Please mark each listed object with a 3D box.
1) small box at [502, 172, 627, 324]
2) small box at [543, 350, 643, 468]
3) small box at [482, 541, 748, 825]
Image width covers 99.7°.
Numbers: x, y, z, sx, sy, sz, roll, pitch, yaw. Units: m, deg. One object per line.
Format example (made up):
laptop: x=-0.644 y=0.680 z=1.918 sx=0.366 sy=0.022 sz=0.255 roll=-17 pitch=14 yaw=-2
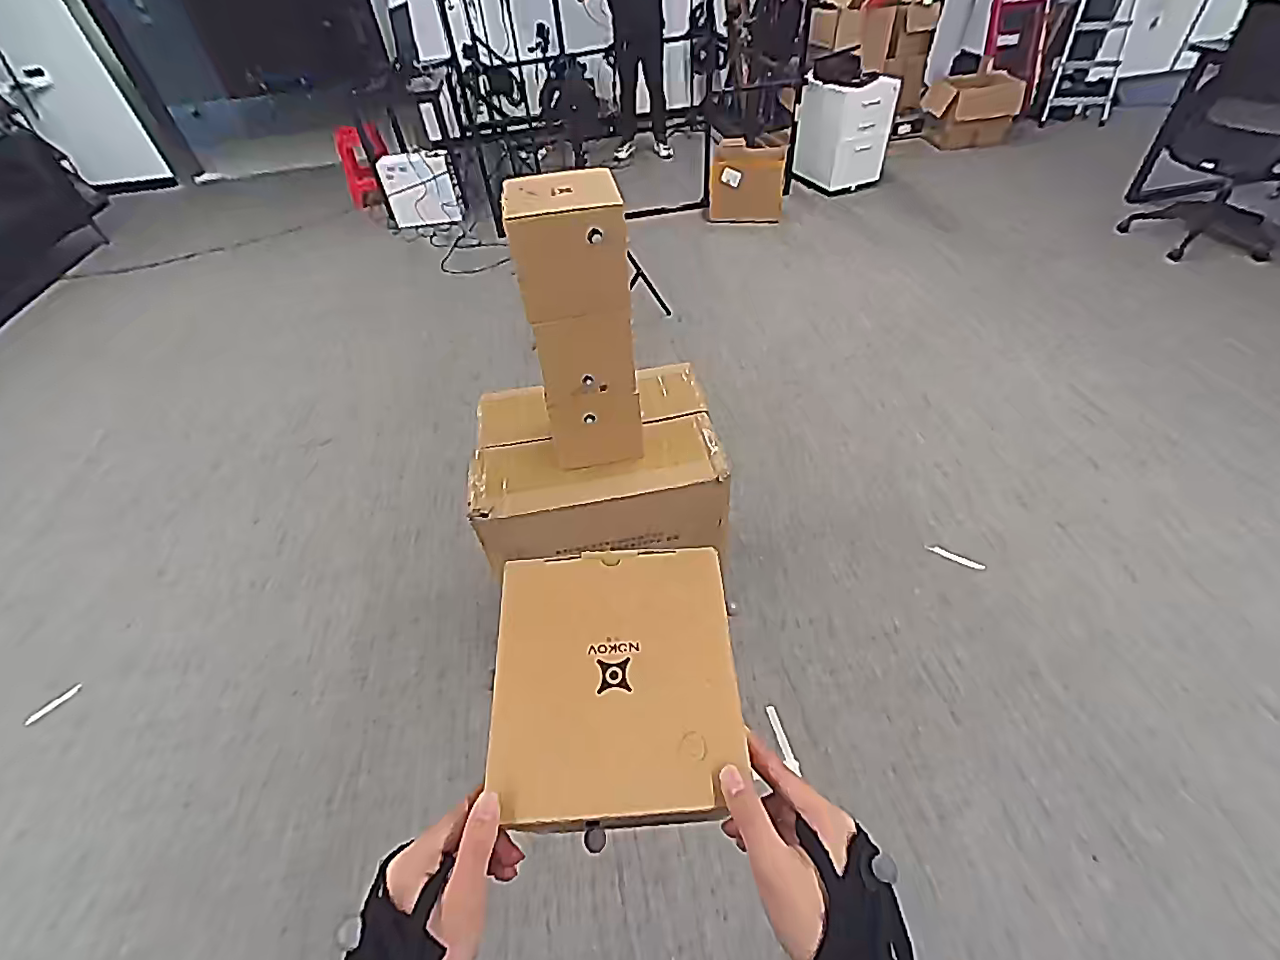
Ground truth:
small box: x=-0.118 y=-0.377 z=0.882 sx=0.179 sy=0.176 sz=0.168 roll=-10 pitch=46 yaw=-4
small box: x=-0.096 y=-0.143 z=1.113 sx=0.179 sy=0.176 sz=0.168 roll=-9 pitch=46 yaw=-4
small box: x=-0.015 y=0.170 z=0.435 sx=0.168 sy=0.176 sz=0.179 roll=-4 pitch=54 yaw=0
